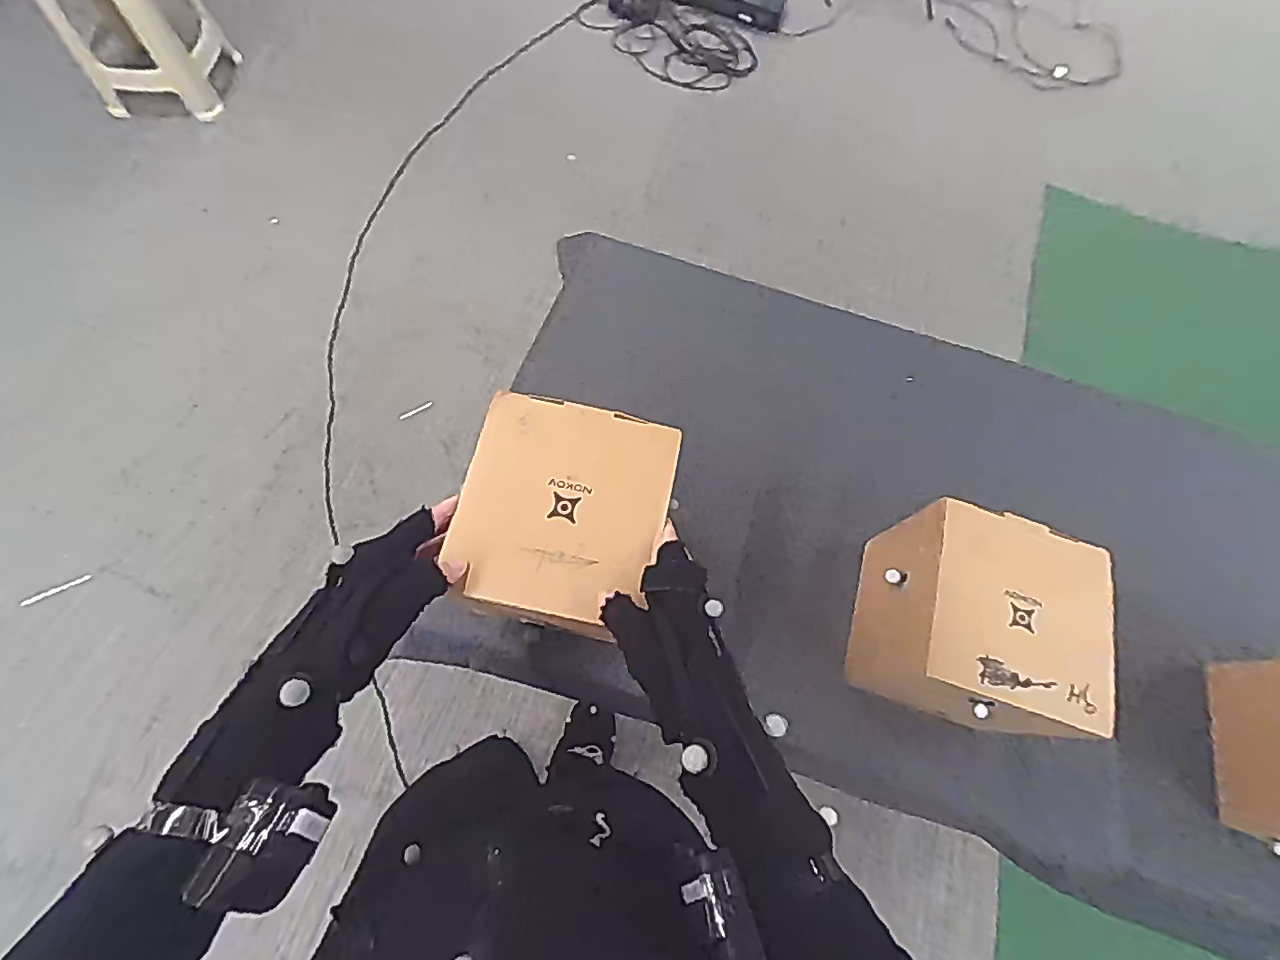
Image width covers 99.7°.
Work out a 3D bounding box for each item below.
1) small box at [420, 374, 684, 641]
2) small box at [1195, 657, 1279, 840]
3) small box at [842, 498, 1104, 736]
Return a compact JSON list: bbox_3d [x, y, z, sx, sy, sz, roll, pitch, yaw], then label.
[{"bbox_3d":[-0.068,0.037,0.492,0.168,0.176,0.179,14,70,1],"label":"small box"},{"bbox_3d":[0.729,0.291,0.548,0.168,0.176,0.179,19,66,2],"label":"small box"},{"bbox_3d":[0.333,0.147,0.567,0.168,0.176,0.179,19,67,2],"label":"small box"}]
